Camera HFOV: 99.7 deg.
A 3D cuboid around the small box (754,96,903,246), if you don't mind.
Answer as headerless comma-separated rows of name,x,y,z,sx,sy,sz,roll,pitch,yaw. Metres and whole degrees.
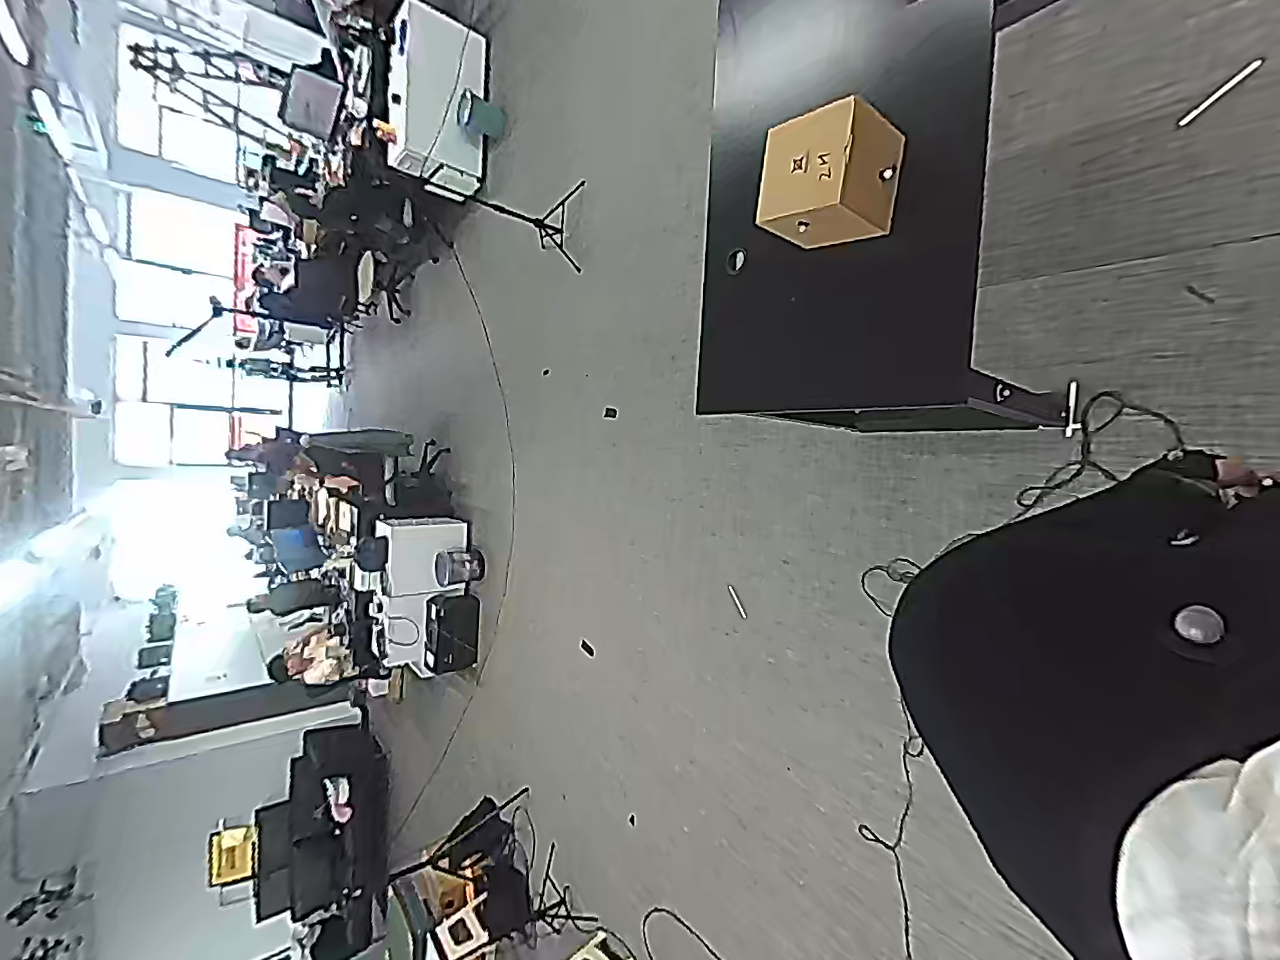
small box,0.335,-0.534,0.967,0.179,0.176,0.168,15,102,50
